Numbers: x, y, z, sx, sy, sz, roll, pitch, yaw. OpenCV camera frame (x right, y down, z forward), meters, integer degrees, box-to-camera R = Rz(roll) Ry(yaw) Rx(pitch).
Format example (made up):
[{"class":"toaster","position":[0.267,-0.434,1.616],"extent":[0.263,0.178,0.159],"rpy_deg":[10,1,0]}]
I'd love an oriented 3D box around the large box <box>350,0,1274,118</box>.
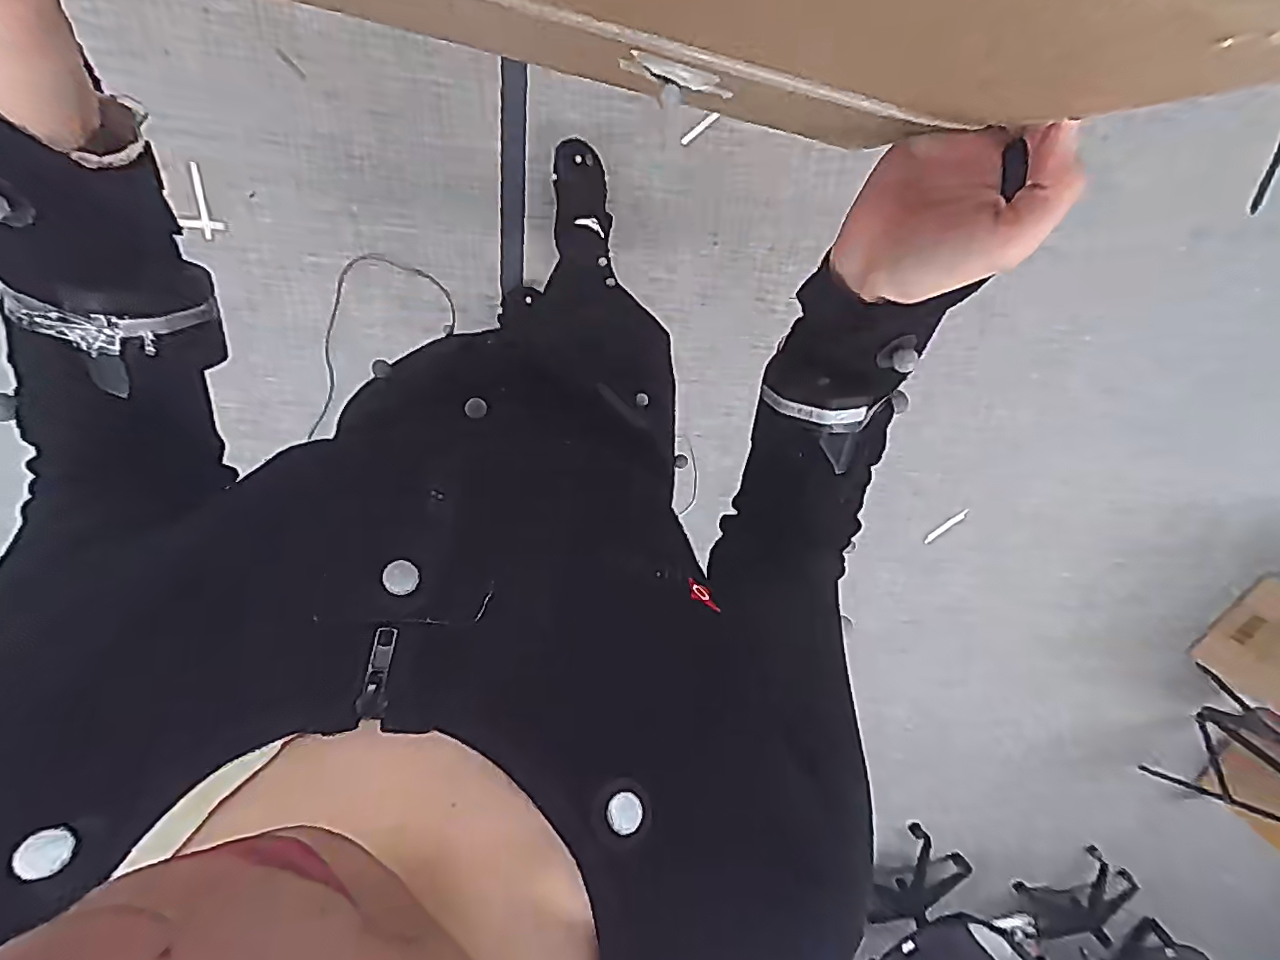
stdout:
[{"class":"large box","position":[-0.027,-0.323,0.125],"extent":[0.408,0.320,0.320],"rpy_deg":[8,119,-8]}]
